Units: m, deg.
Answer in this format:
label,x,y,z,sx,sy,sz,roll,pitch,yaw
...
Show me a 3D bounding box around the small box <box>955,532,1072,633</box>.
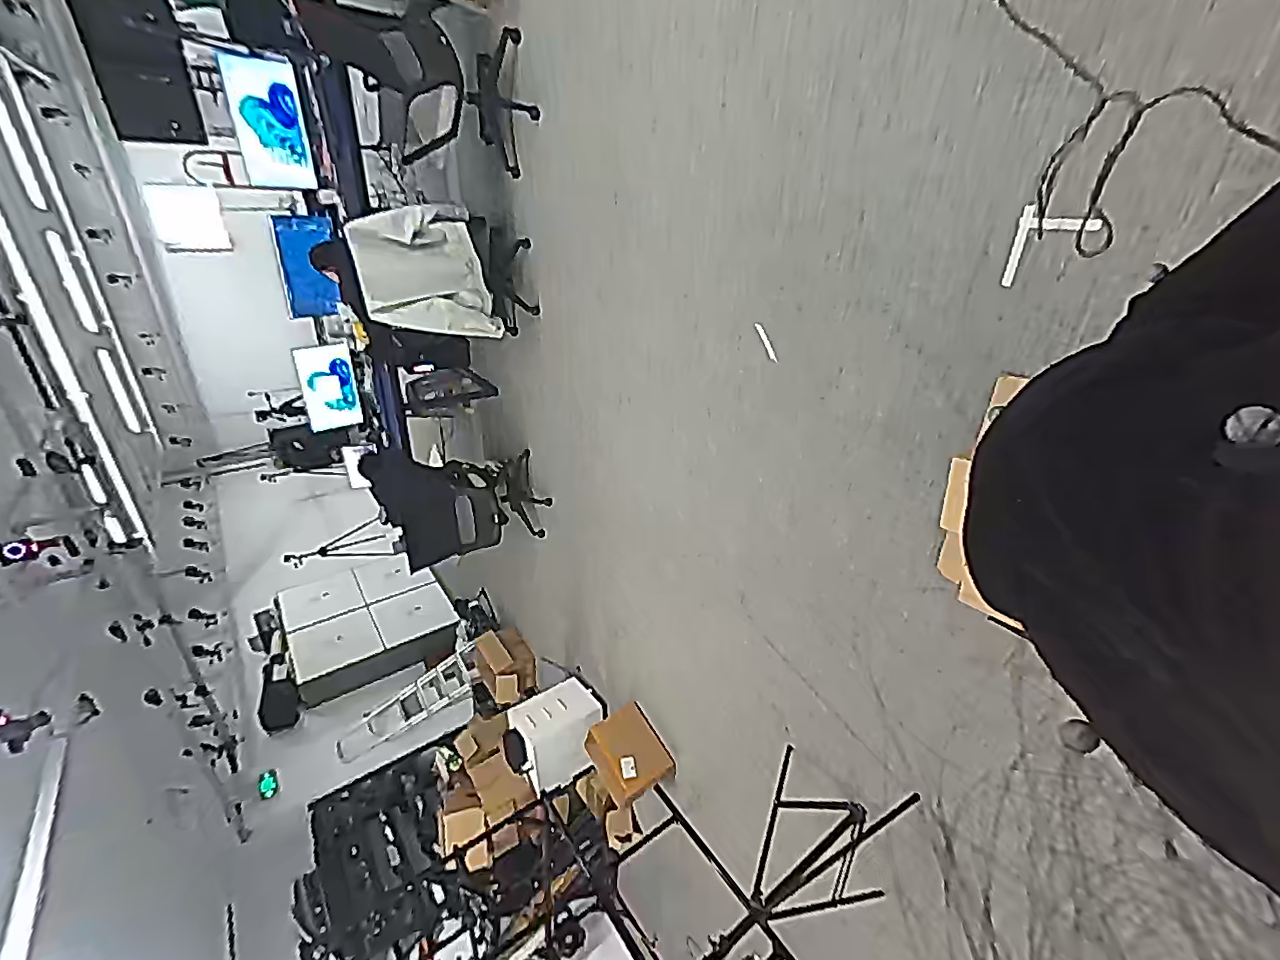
label,x,y,z,sx,sy,sz,roll,pitch,yaw
small box,0.932,0.245,1.353,0.179,0.176,0.168,26,126,47
